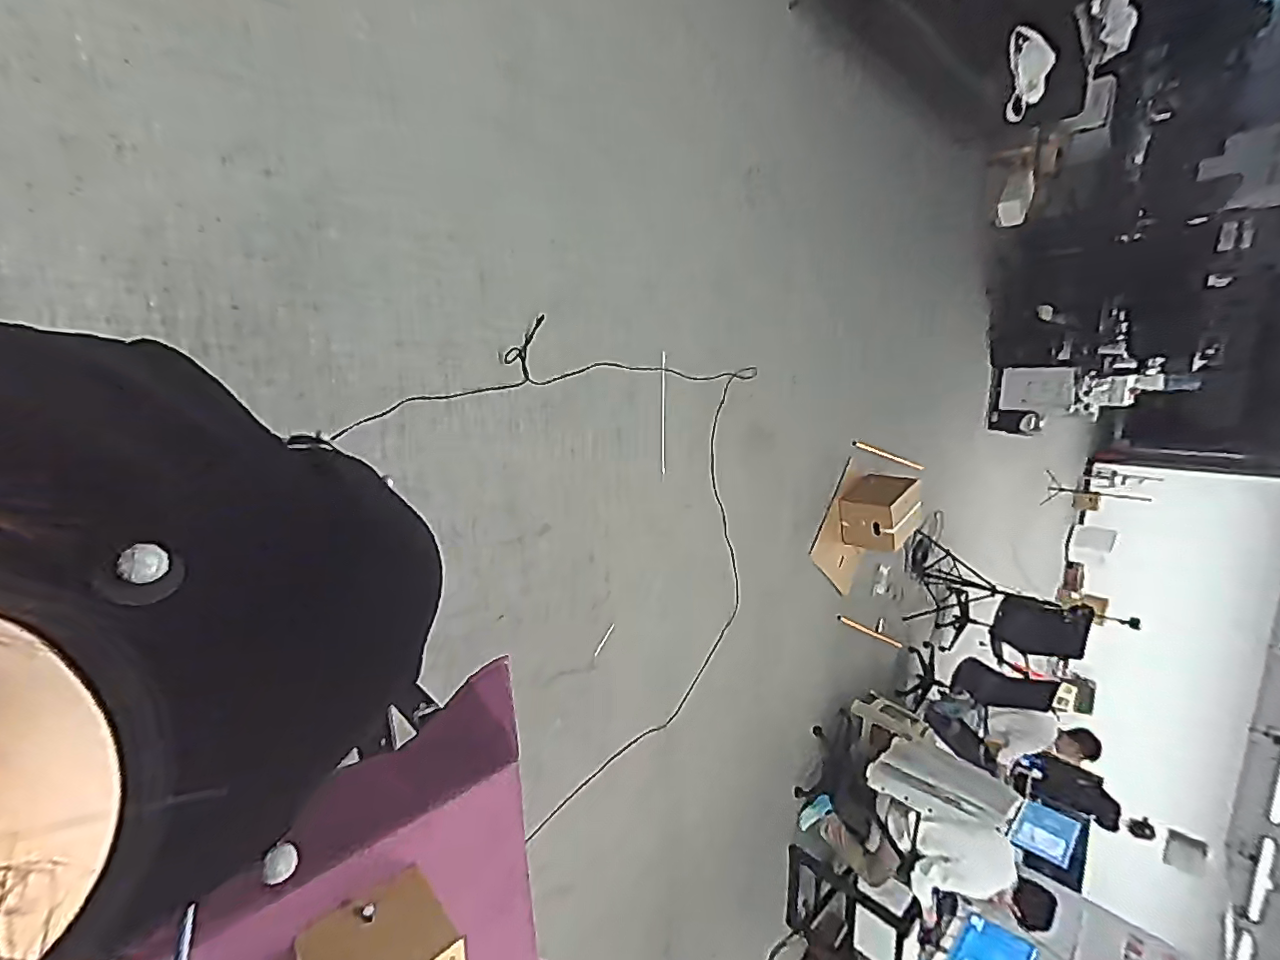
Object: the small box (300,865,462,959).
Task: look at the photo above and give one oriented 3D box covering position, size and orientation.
[{"bbox_3d":[-0.369,0.715,0.772,0.179,0.176,0.168,-10,105,-41],"label":"small box"}]
